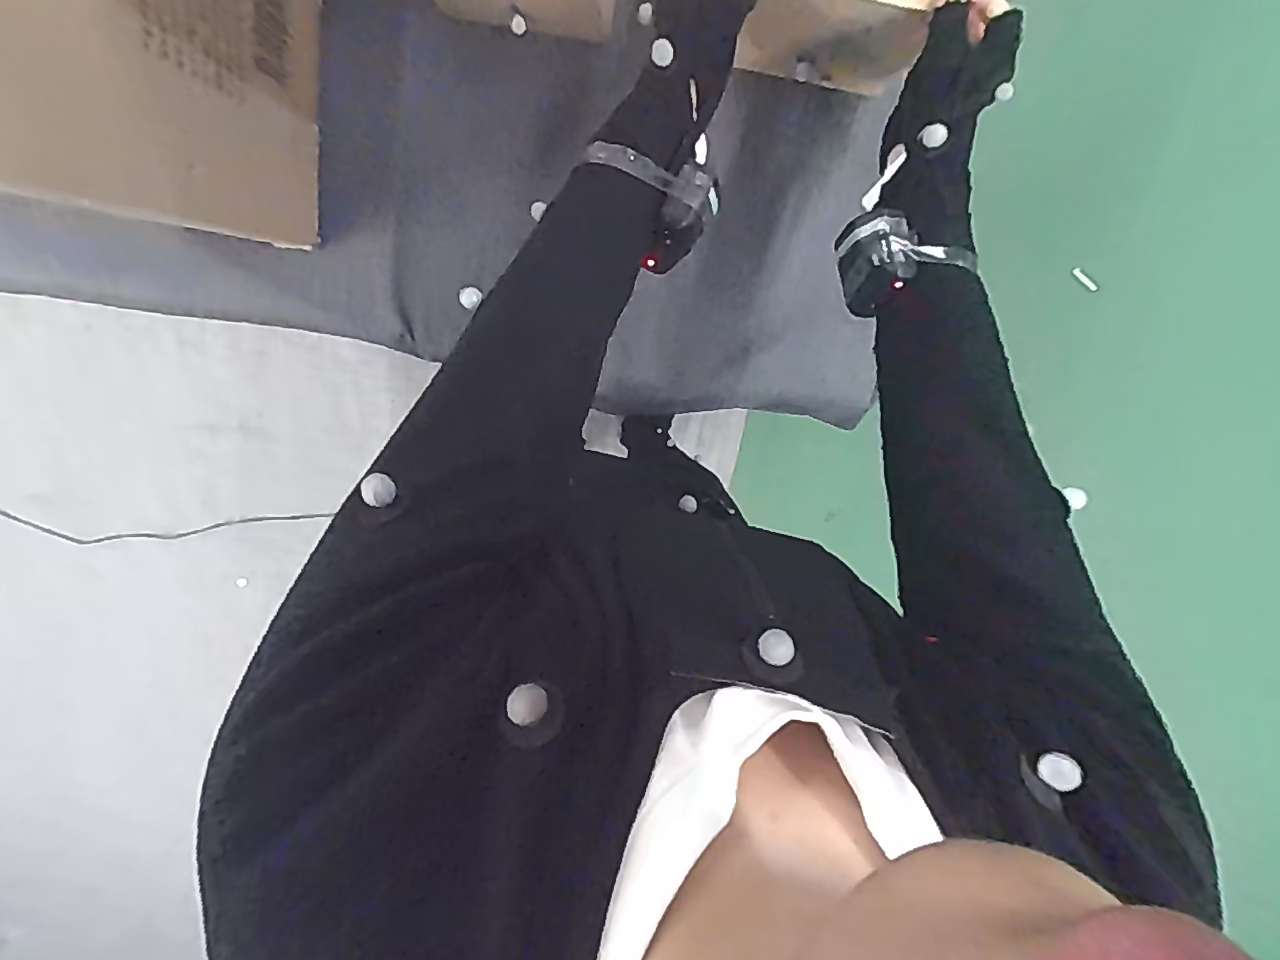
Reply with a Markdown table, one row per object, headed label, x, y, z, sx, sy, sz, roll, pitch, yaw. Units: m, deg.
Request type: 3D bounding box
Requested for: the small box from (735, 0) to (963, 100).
| label | x | y | z | sx | sy | sz | roll | pitch | yaw |
| --- | --- | --- | --- | --- | --- | --- | --- | --- | --- |
| small box | 0.187 | -0.474 | 0.471 | 0.168 | 0.176 | 0.179 | 11 | 108 | 0 |
